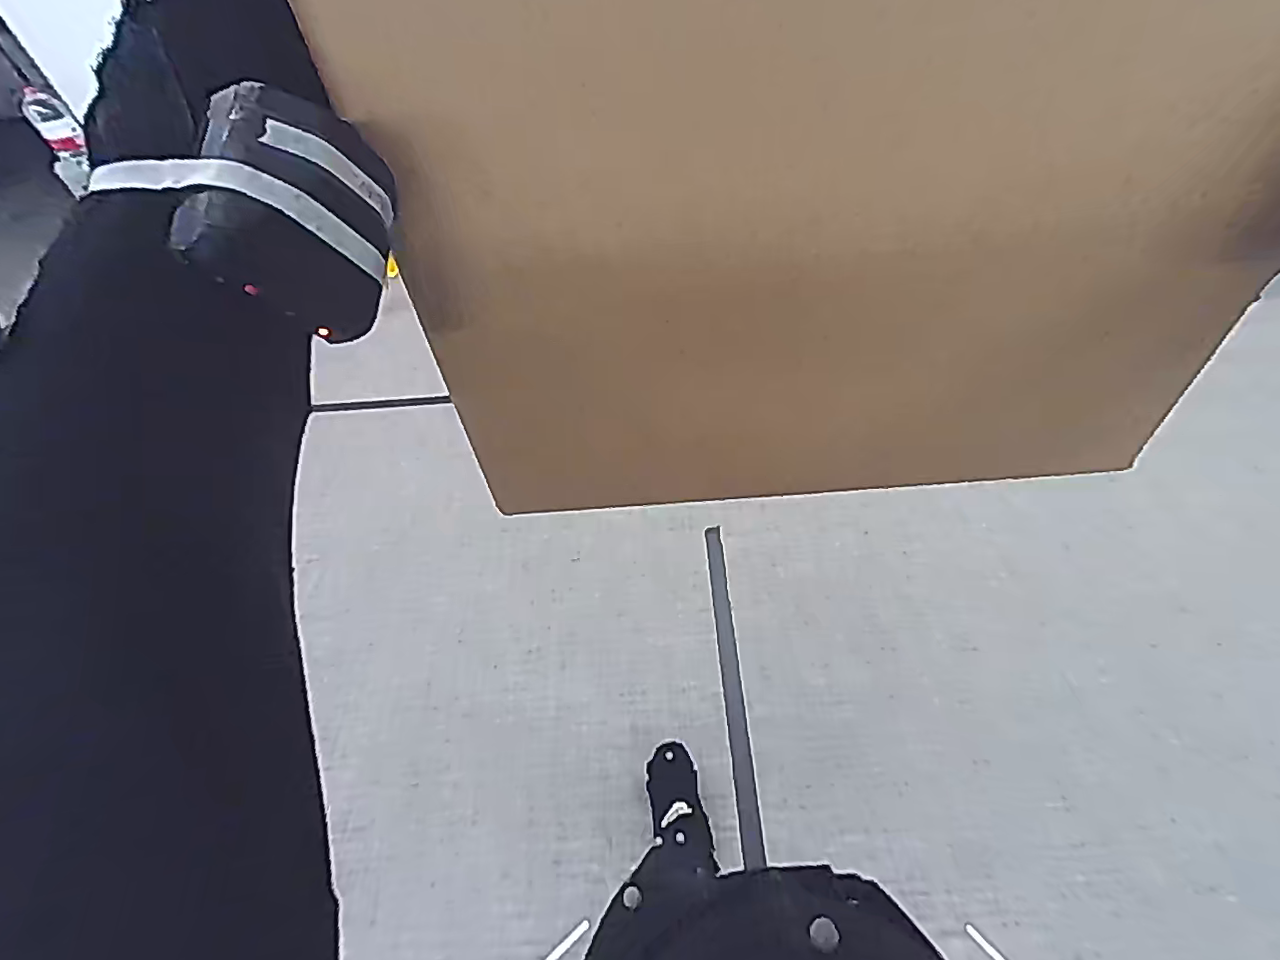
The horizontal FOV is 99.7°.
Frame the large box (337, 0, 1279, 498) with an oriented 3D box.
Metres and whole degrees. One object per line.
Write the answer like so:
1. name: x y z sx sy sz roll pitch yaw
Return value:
1. large box: 0.086 -0.211 0.370 0.408 0.320 0.320 -4 44 2
